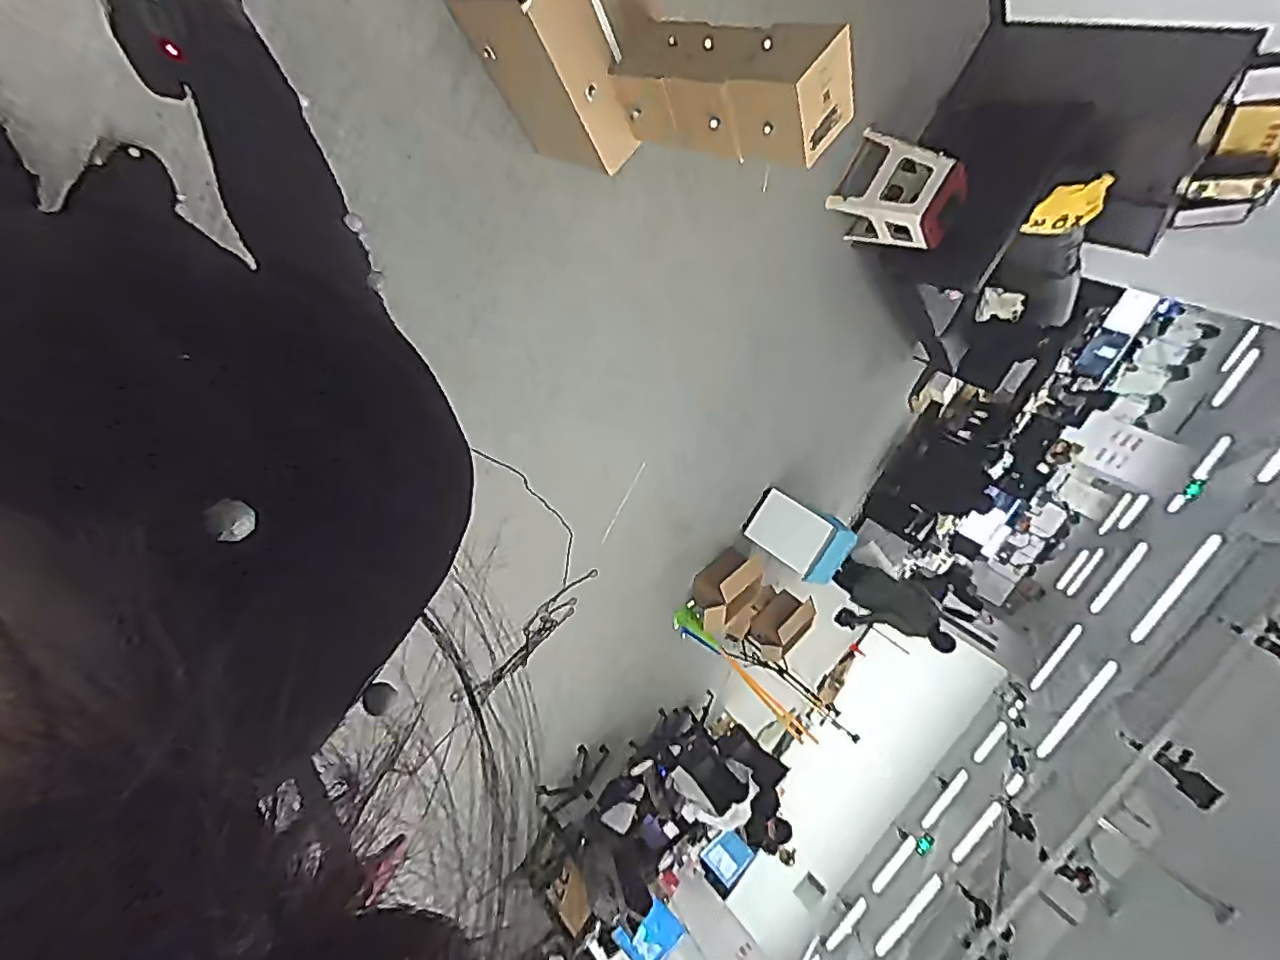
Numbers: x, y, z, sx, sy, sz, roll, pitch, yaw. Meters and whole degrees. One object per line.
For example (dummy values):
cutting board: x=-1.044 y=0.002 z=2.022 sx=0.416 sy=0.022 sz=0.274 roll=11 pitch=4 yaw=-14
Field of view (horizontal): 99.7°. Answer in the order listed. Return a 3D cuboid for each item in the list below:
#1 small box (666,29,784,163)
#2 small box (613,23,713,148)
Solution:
small box: x=0.185 y=-0.833 z=1.170 sx=0.168 sy=0.176 sz=0.179 roll=-51 pitch=147 yaw=-7
small box: x=0.070 y=-0.914 z=1.250 sx=0.179 sy=0.176 sz=0.168 roll=-52 pitch=147 yaw=-6
